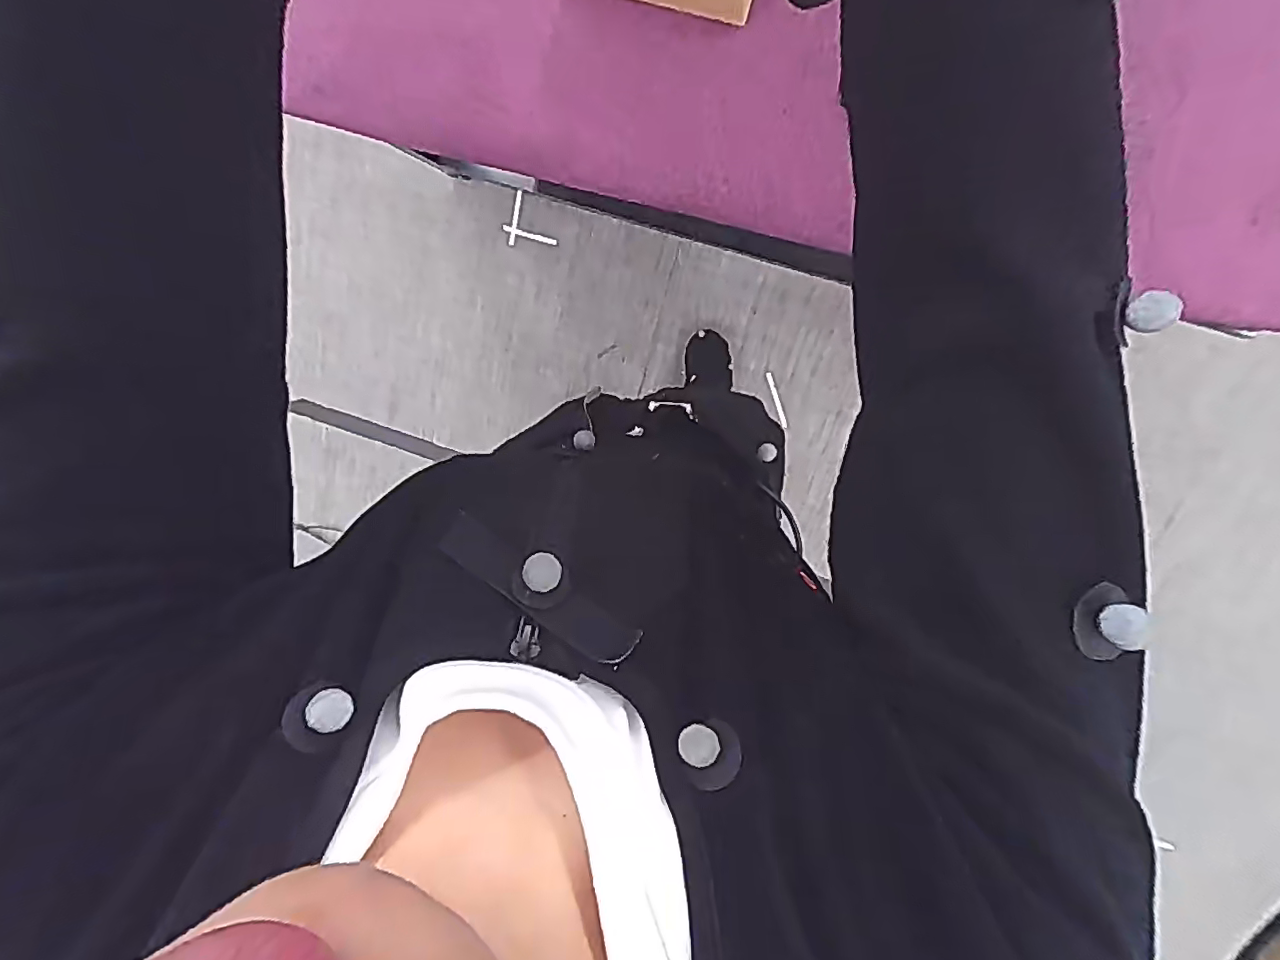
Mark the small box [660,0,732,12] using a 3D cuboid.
[{"bbox_3d":[0.023,-0.490,0.390,0.179,0.176,0.168,18,107,4],"label":"small box"}]
